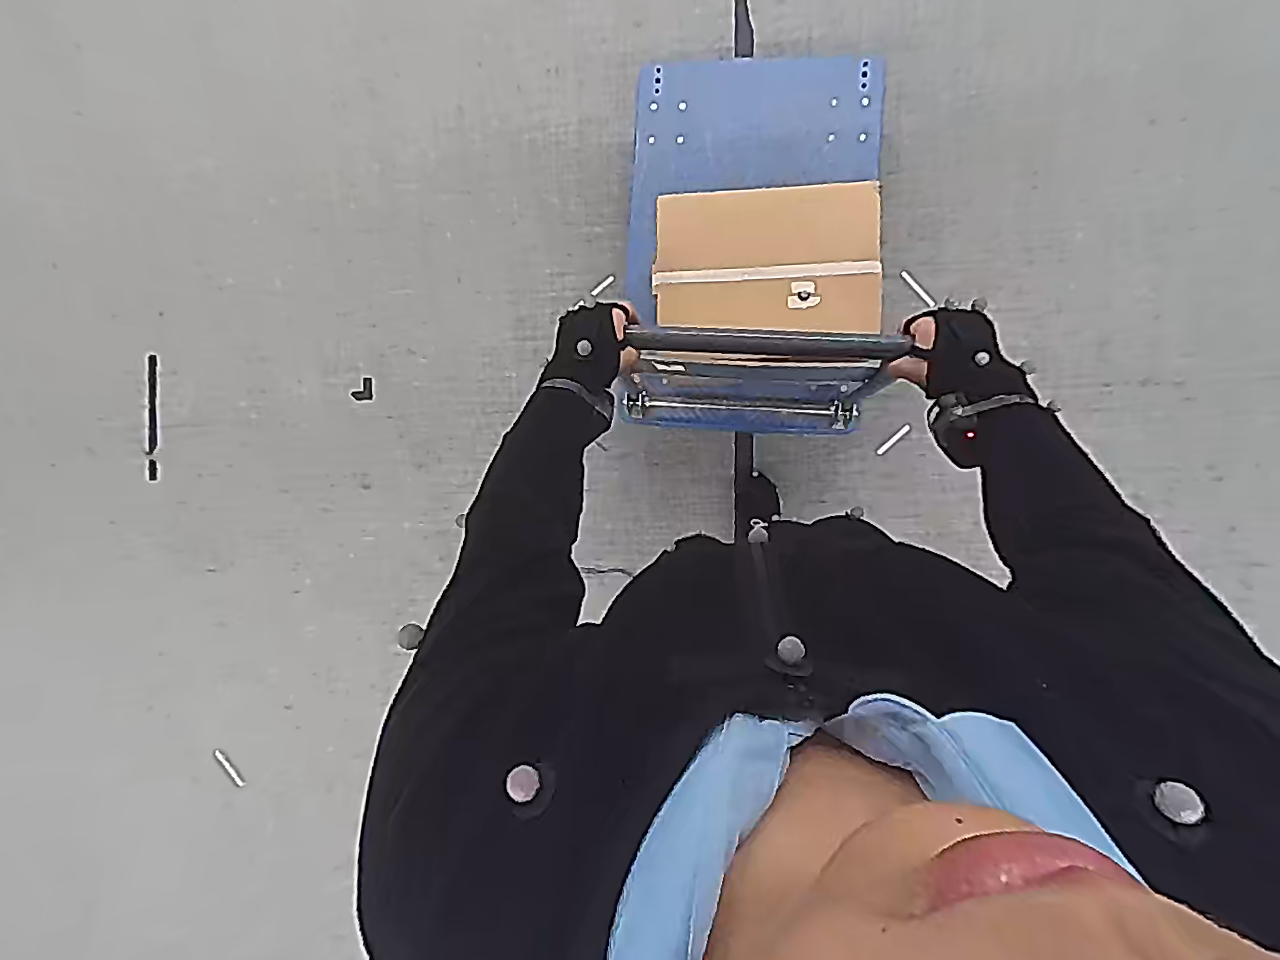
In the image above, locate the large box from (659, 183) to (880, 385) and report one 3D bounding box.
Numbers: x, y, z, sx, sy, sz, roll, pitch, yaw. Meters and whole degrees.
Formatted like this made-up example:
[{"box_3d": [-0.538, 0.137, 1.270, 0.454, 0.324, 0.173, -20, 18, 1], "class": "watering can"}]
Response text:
[{"box_3d": [0.252, -0.385, 1.151, 0.408, 0.320, 0.320, -1, 92, 6], "class": "large box"}]
